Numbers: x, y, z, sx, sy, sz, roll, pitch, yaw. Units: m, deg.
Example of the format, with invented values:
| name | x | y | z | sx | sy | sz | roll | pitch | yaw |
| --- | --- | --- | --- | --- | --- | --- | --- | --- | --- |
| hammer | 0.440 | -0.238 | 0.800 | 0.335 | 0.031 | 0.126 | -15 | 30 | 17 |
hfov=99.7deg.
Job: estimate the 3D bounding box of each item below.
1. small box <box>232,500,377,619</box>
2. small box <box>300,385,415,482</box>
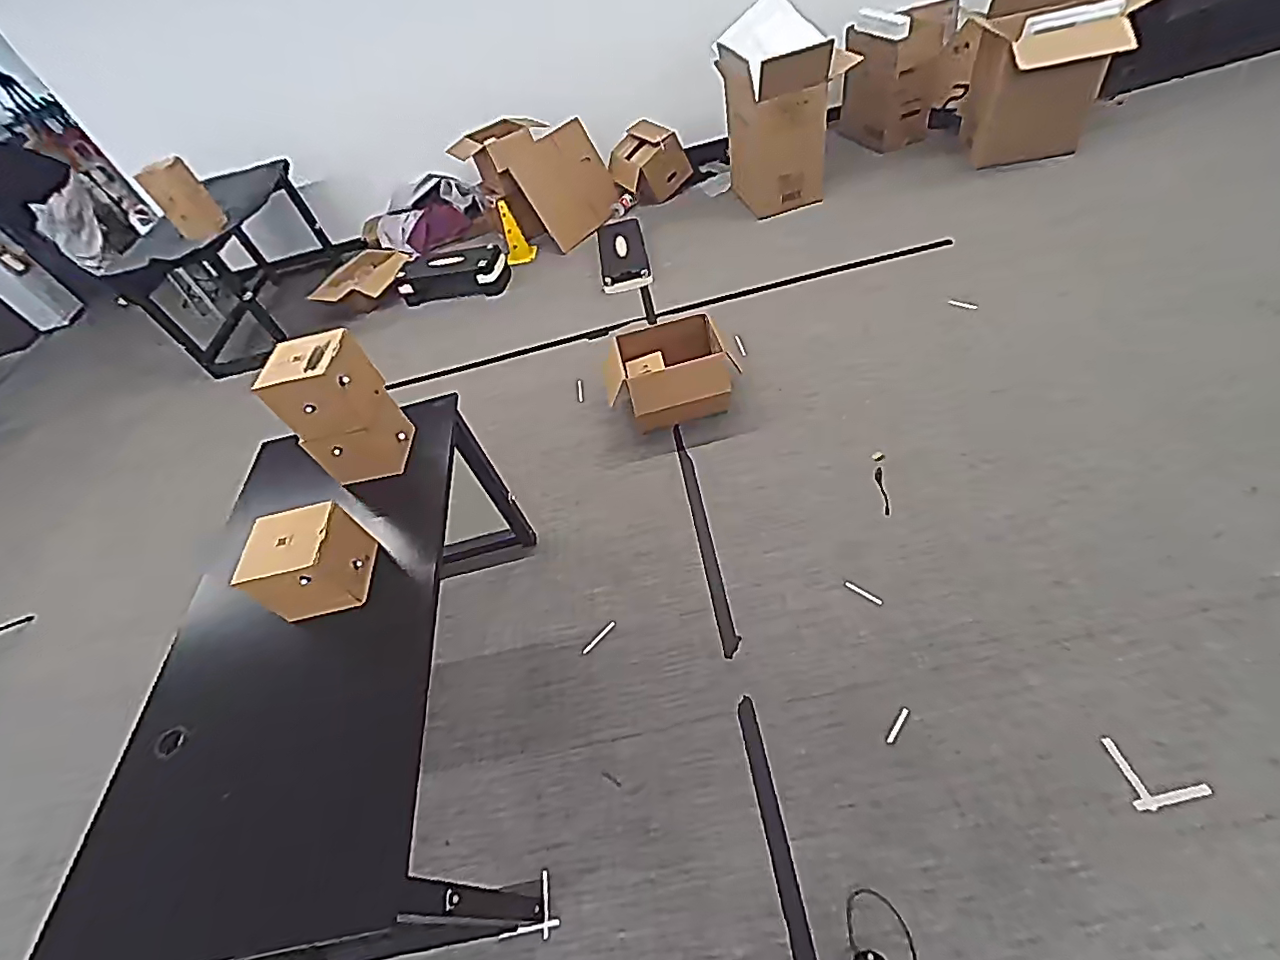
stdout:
| name | x | y | z | sx | sy | sz | roll | pitch | yaw |
| --- | --- | --- | --- | --- | --- | --- | --- | --- | --- |
| small box | -0.693 | 0.173 | 1.141 | 0.179 | 0.176 | 0.168 | -14 | 49 | 3 |
| small box | -0.709 | -0.113 | 1.379 | 0.179 | 0.176 | 0.168 | -10 | 50 | 7 |
